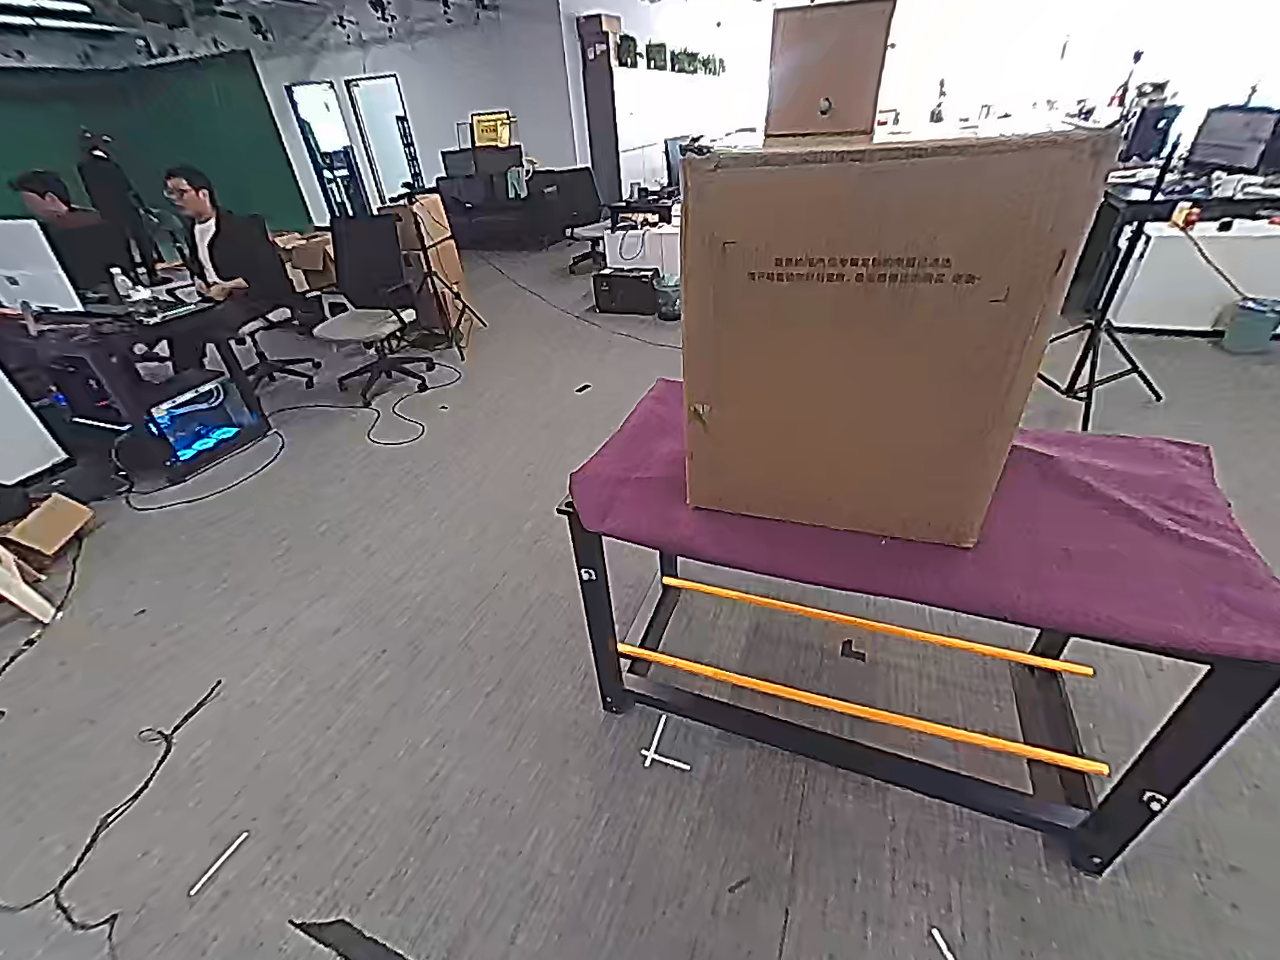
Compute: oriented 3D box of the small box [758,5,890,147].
[{"bbox_3d":[0.303,-0.660,0.898,0.179,0.176,0.168,9,37,19],"label":"small box"}]
